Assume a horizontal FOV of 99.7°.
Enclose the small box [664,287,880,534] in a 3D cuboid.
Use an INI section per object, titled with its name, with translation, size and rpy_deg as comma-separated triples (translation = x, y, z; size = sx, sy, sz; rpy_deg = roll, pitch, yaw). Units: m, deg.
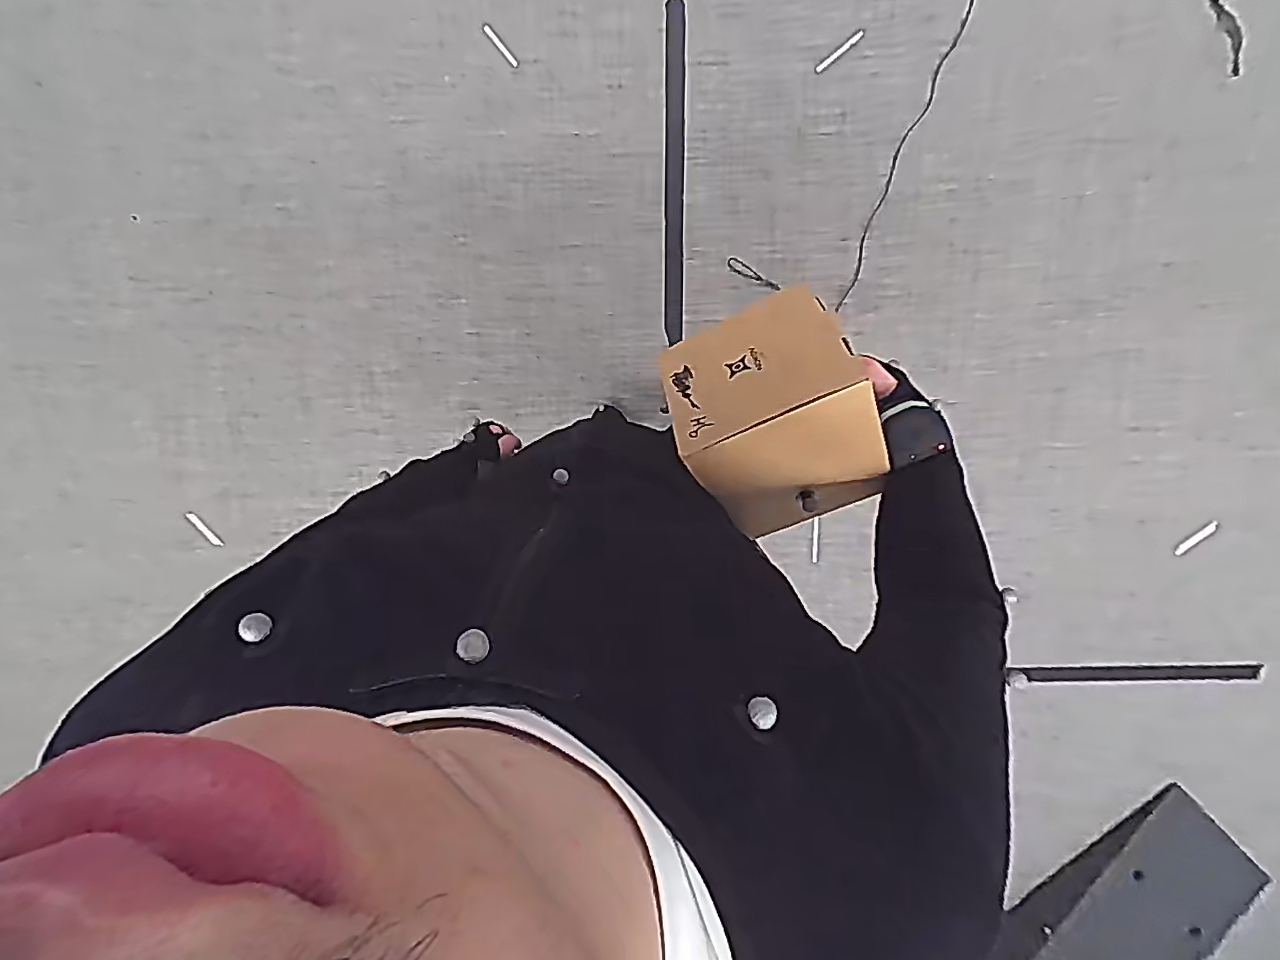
[small box]
translation = 0.148, -0.069, 0.597
size = 0.179, 0.168, 0.176
rpy_deg = -23, 135, 15
